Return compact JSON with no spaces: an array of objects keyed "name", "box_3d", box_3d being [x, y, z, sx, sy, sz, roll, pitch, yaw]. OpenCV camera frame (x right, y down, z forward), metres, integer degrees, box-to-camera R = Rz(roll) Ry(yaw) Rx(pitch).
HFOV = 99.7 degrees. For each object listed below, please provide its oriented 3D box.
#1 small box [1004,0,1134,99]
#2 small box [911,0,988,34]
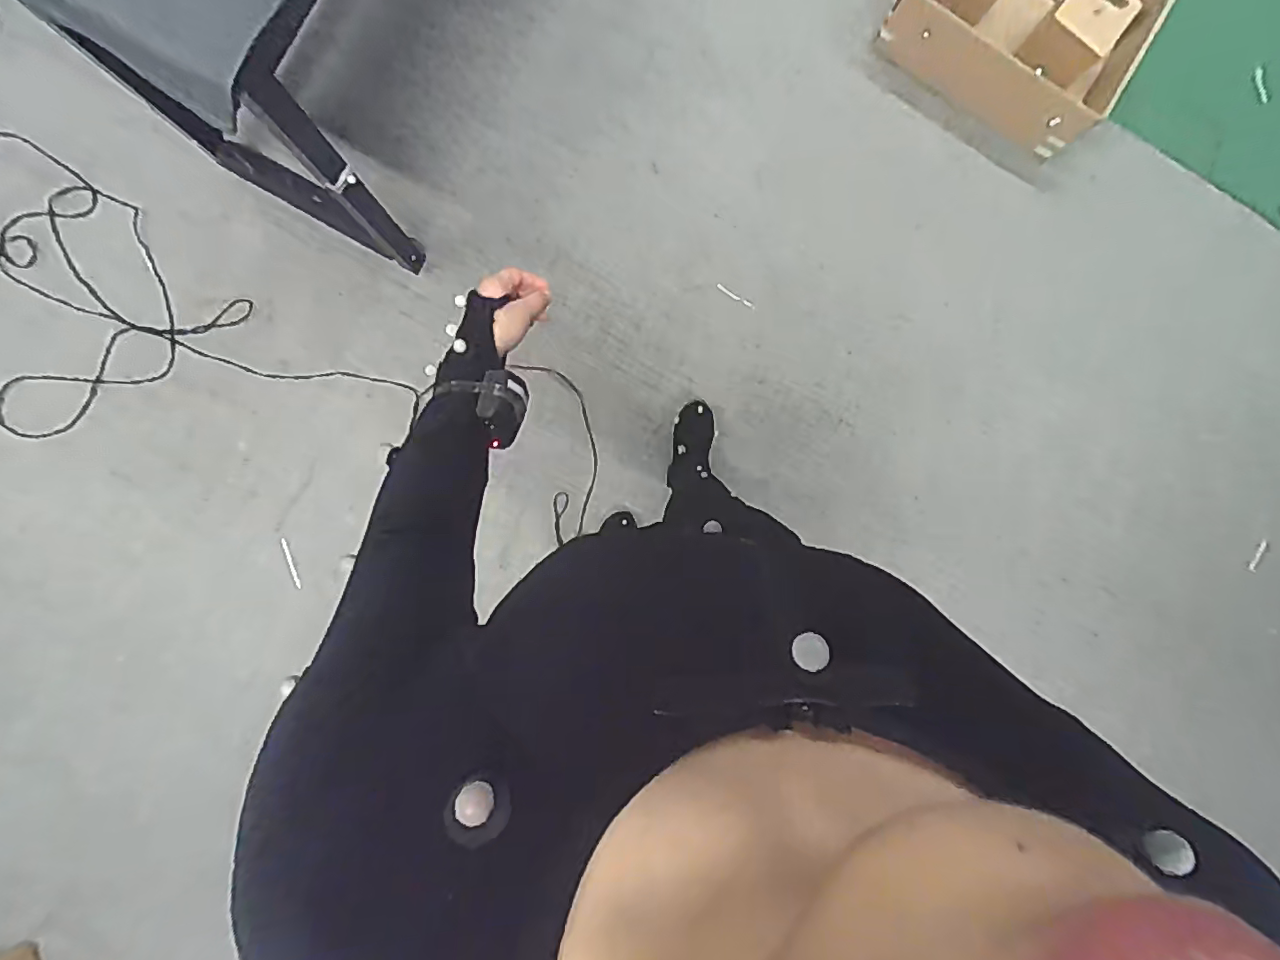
[{"name":"small box","box_3d":[1.118,-1.173,1.426,0.168,0.176,0.179,37,90,-3]},{"name":"small box","box_3d":[0.849,-1.325,1.403,0.179,0.176,0.168,31,89,-4]}]
